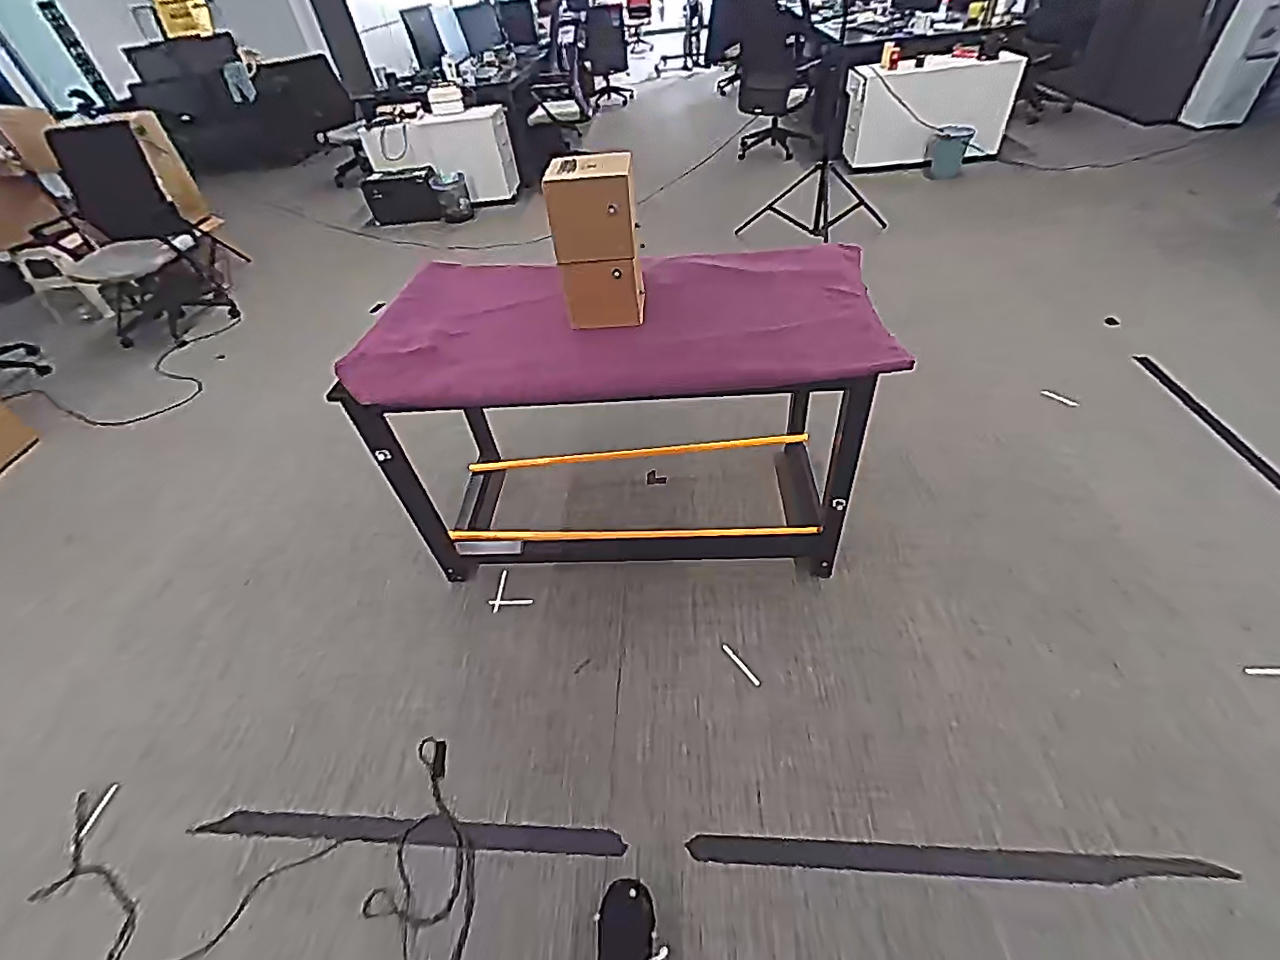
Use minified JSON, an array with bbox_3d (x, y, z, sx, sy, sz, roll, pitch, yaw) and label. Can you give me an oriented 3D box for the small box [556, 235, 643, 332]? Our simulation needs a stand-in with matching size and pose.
[{"bbox_3d":[-0.090,-0.470,1.303,0.179,0.176,0.168,-2,44,5],"label":"small box"}]
